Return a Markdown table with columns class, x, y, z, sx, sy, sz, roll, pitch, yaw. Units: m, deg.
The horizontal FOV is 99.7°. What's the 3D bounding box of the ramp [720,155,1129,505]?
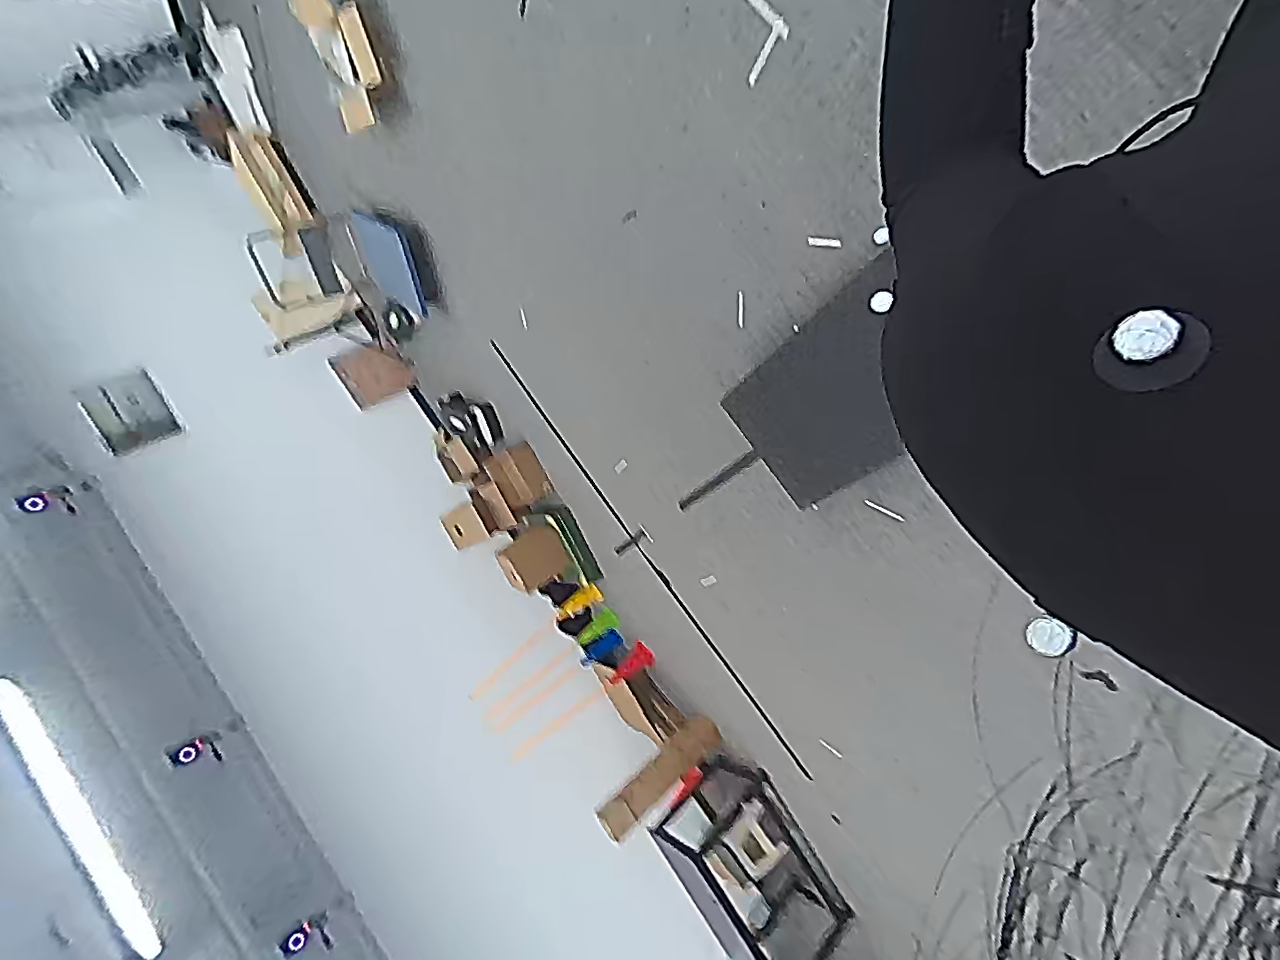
| class | x | y | z | sx | sy | sz | roll | pitch | yaw |
| --- | --- | --- | --- | --- | --- | --- | --- | --- | --- |
| ramp | 0.670 | -0.325 | 1.553 | 0.509 | 0.206 | 0.991 | 54 | 149 | 7 |
